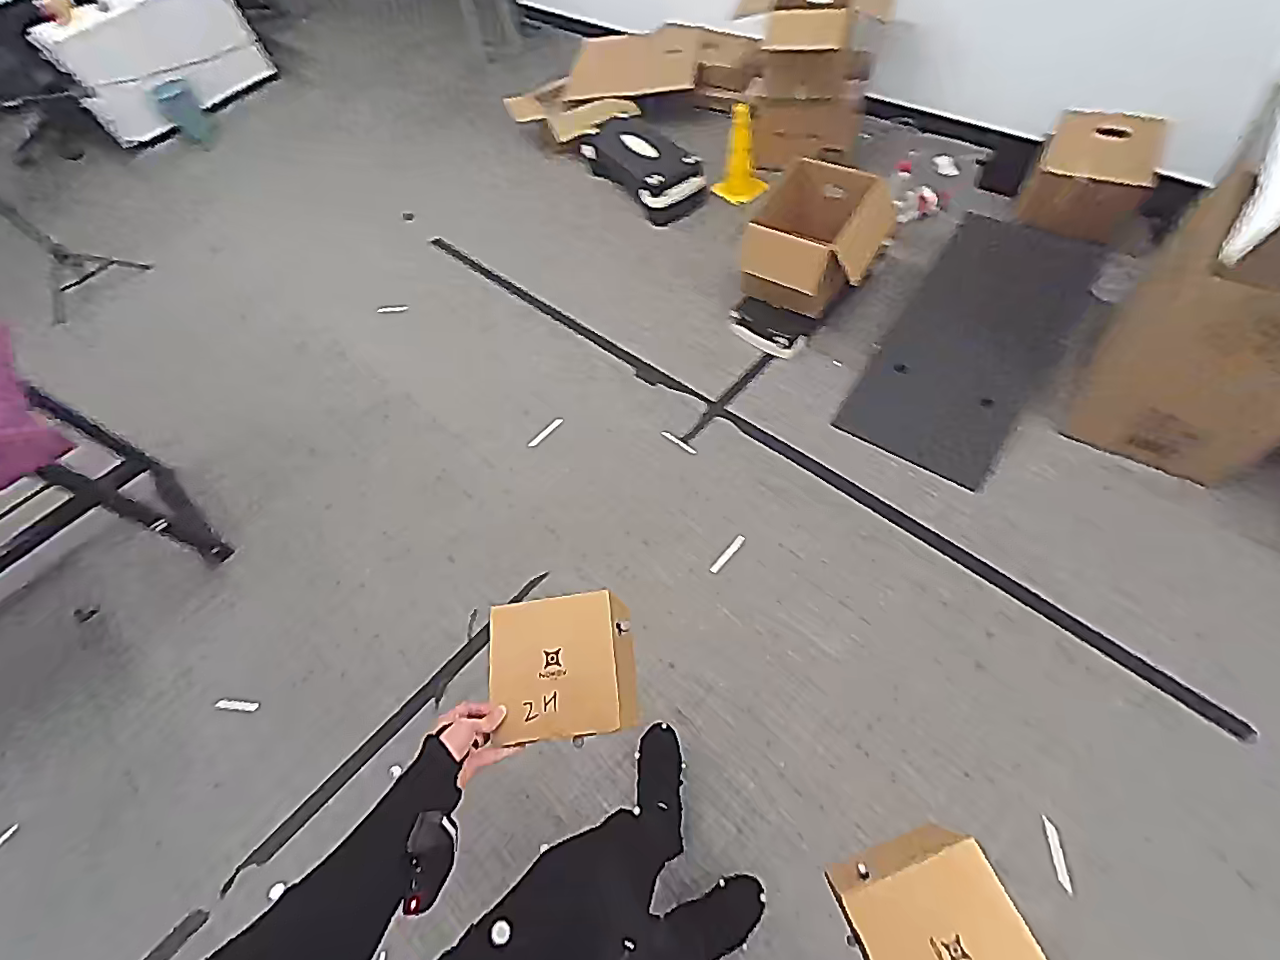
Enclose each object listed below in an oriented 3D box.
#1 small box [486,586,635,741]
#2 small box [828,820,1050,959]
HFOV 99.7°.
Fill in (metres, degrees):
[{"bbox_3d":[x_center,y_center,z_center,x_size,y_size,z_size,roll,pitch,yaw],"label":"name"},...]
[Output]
[{"bbox_3d":[-0.106,0.262,0.764,0.168,0.176,0.179,-10,67,6],"label":"small box"},{"bbox_3d":[0.354,0.543,0.660,0.179,0.176,0.168,-25,61,-1],"label":"small box"}]
